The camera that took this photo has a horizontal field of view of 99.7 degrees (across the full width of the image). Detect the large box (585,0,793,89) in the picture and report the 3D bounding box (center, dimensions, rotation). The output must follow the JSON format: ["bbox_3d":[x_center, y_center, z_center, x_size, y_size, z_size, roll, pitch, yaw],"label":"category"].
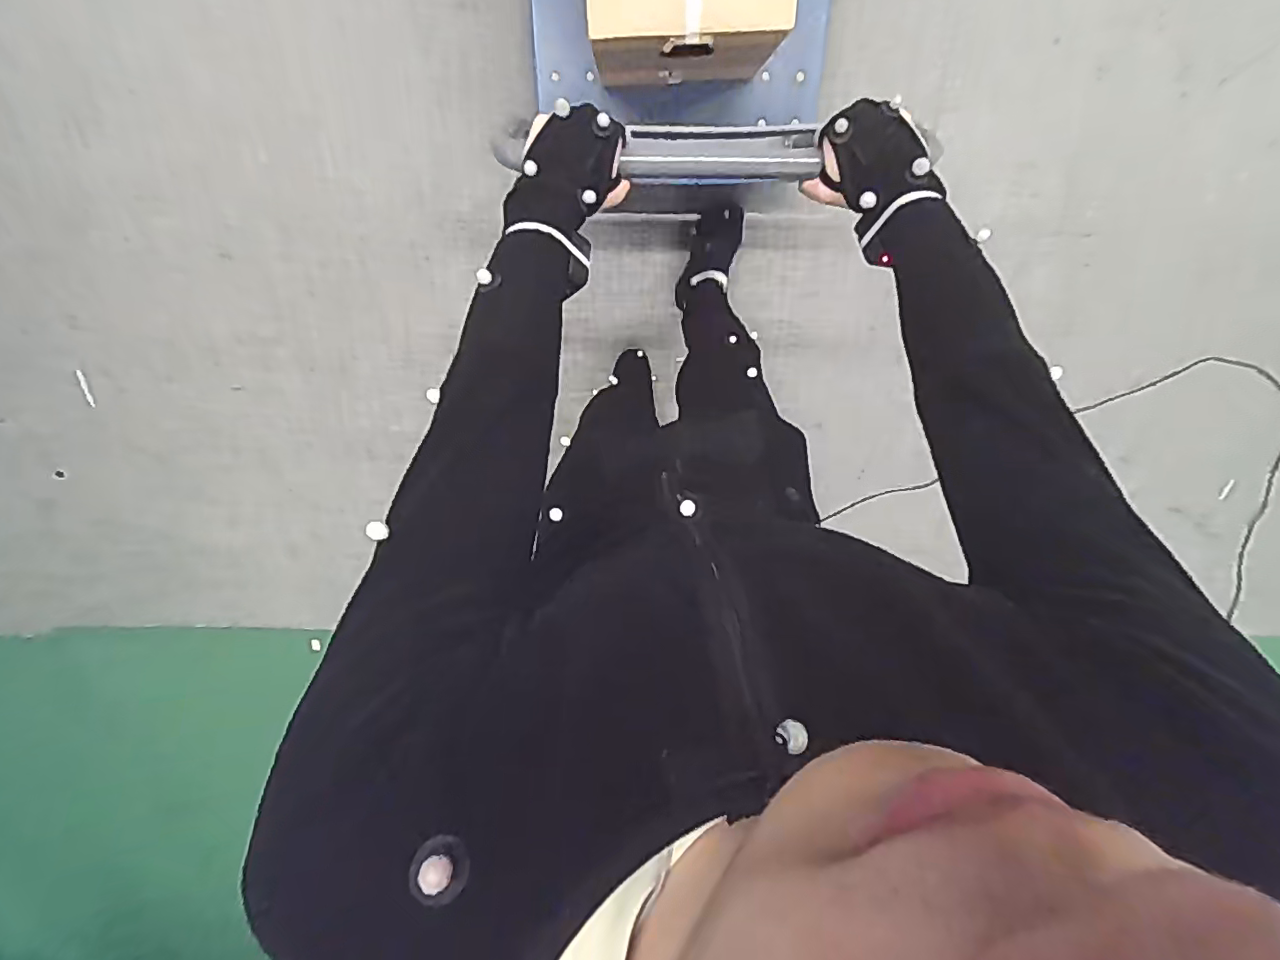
[{"bbox_3d":[0.066,-0.914,0.874,0.320,0.320,0.408,-2,116,1],"label":"large box"}]
